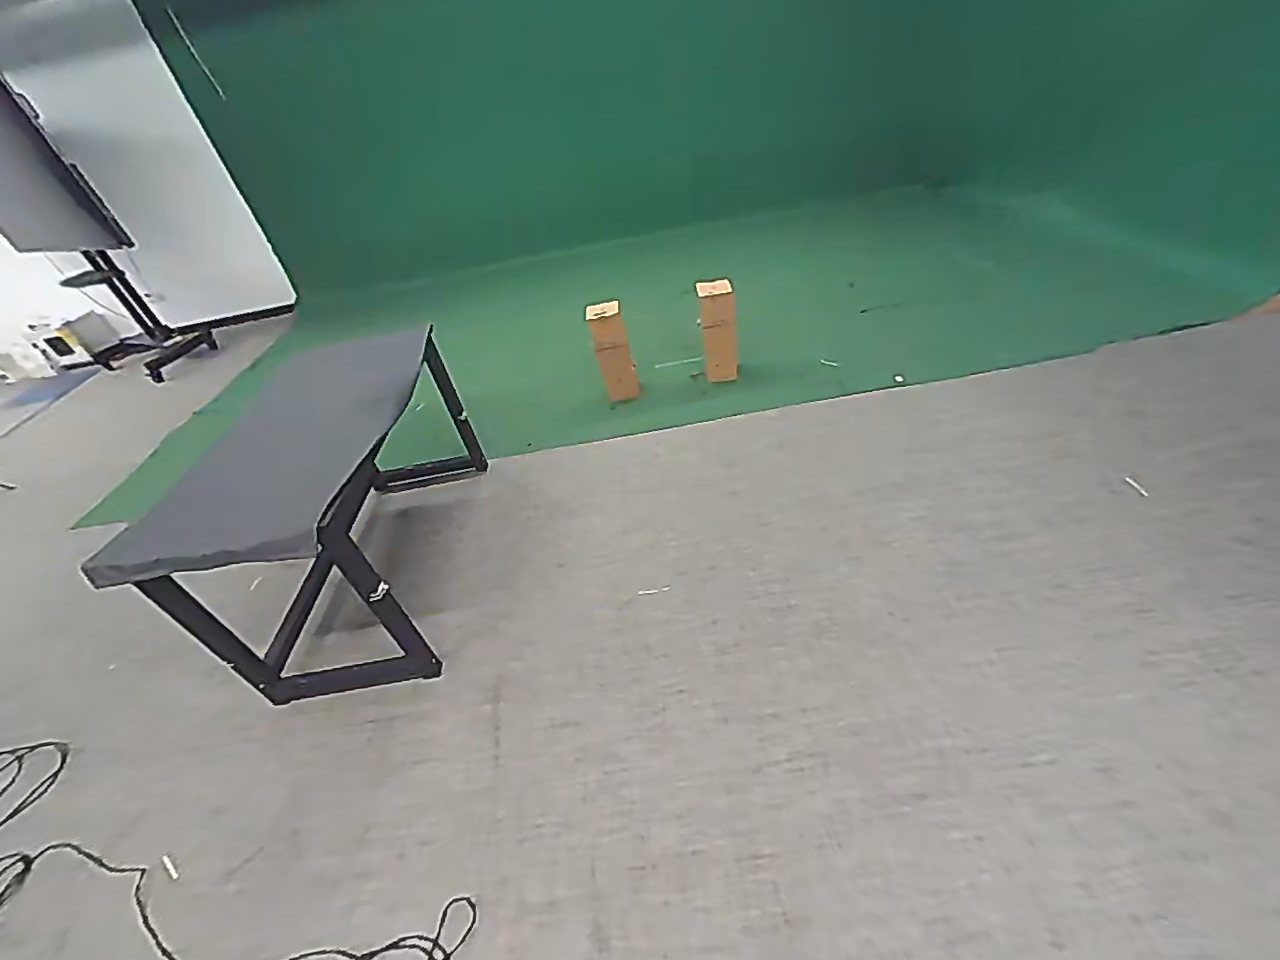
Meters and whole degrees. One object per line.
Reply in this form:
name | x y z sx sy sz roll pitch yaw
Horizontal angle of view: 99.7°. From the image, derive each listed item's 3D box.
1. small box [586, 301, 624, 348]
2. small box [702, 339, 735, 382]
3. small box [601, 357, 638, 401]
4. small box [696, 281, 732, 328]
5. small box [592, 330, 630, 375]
small box | -0.176 -0.787 2.757 0.168 0.176 0.179 -10 39 4
small box | 0.432 -0.649 2.960 0.168 0.176 0.179 -5 40 8
small box | -0.113 -0.551 2.973 0.179 0.176 0.168 -10 40 2
small box | 0.375 -0.891 2.744 0.168 0.176 0.179 -7 39 4
small box | -0.151 -0.671 2.870 0.179 0.176 0.168 -8 40 4
